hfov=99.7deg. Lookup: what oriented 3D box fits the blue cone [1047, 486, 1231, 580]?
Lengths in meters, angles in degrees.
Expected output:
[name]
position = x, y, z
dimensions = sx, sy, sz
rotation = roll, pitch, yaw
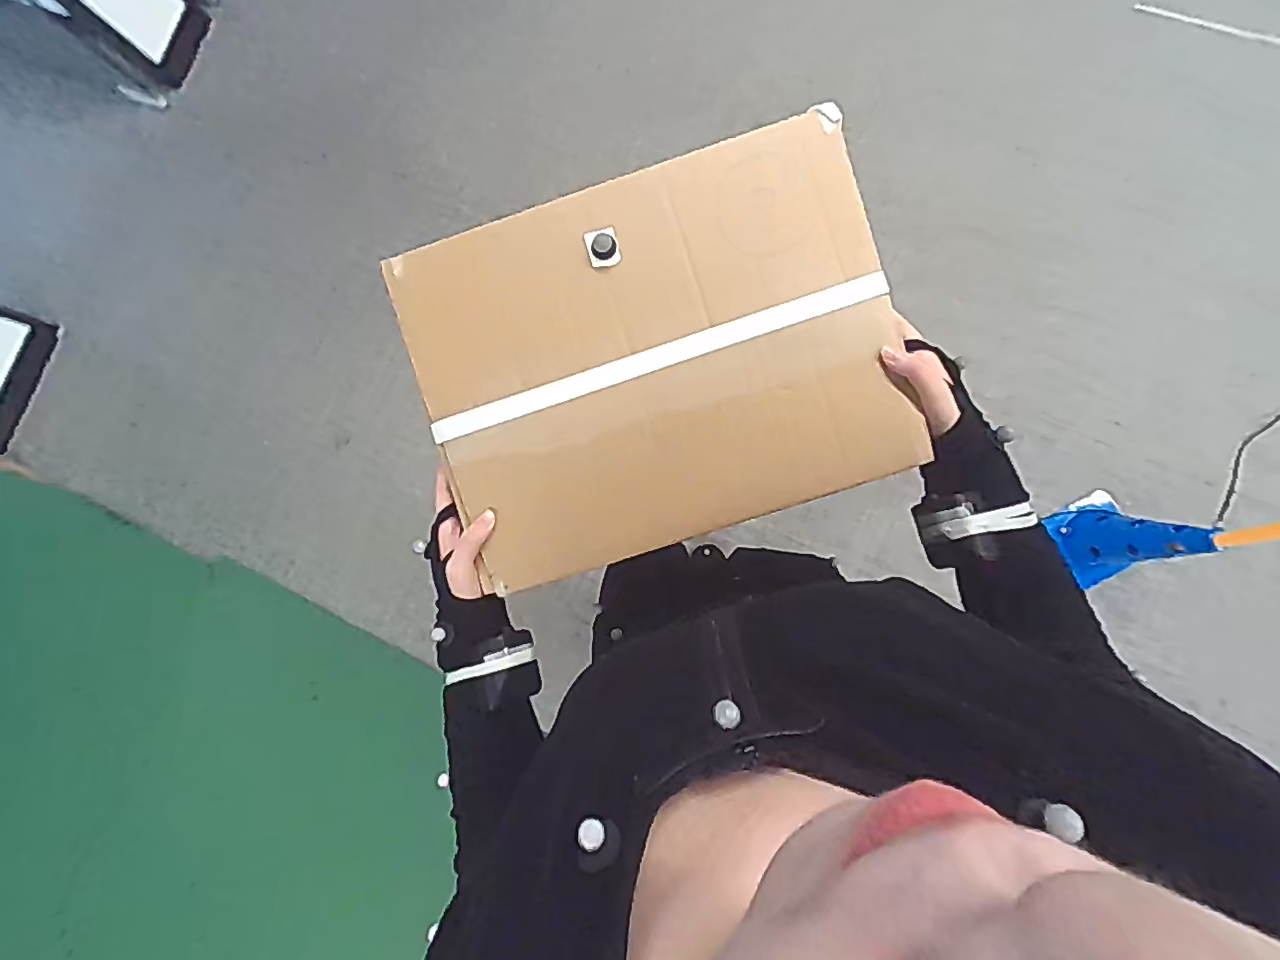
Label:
[blue cone]
position = 1.130, 0.120, 1.200
dimensions = 0.193, 0.380, 0.192
rotation = -33, 81, 4
